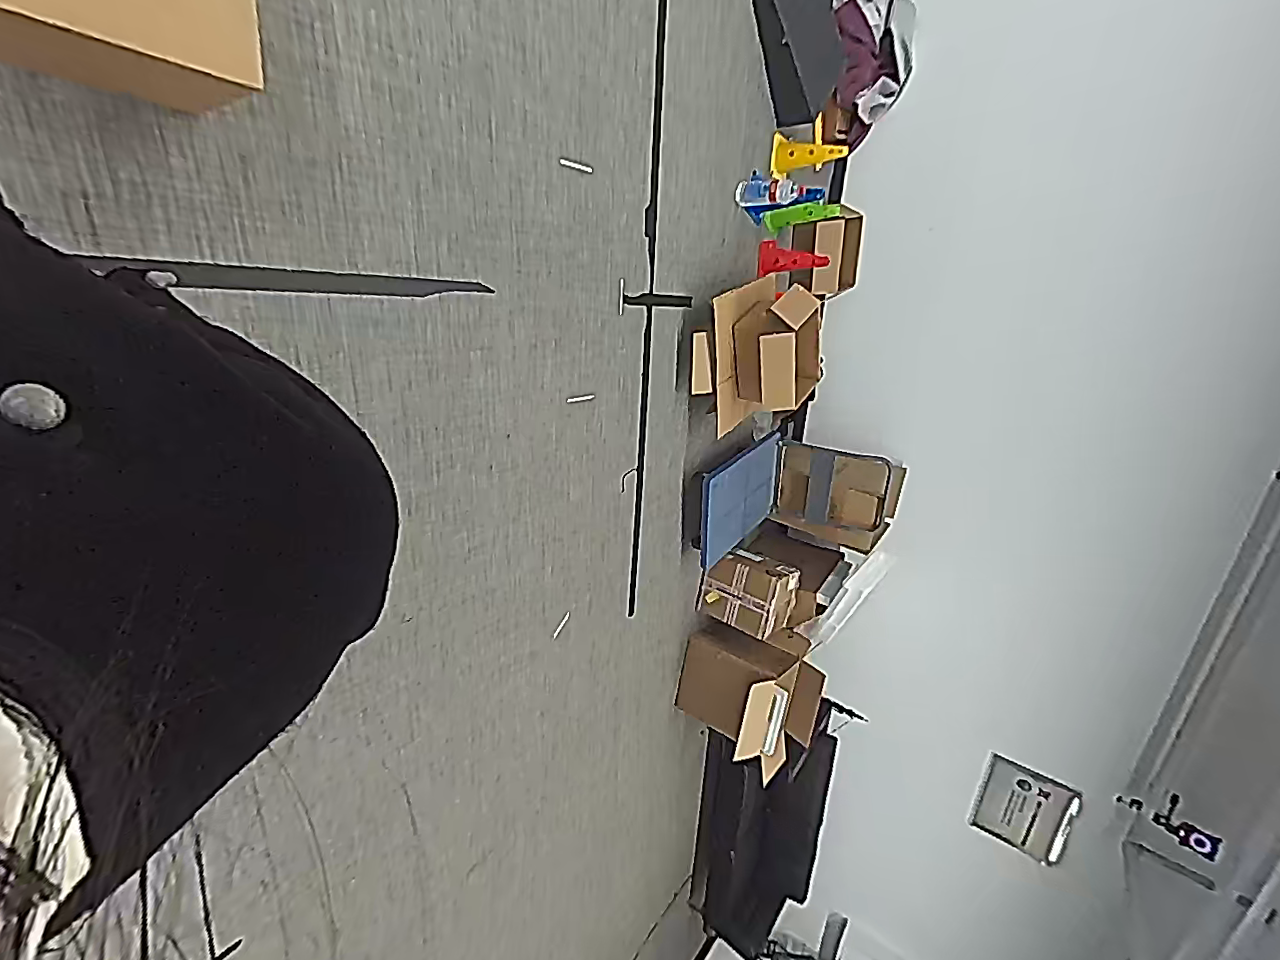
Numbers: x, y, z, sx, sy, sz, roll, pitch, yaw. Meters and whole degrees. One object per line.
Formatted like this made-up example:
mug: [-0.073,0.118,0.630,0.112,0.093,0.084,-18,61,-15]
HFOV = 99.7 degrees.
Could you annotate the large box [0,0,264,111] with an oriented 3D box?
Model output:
large box: [-0.857,-0.793,0.786,0.408,0.320,0.320,-18,119,-51]
